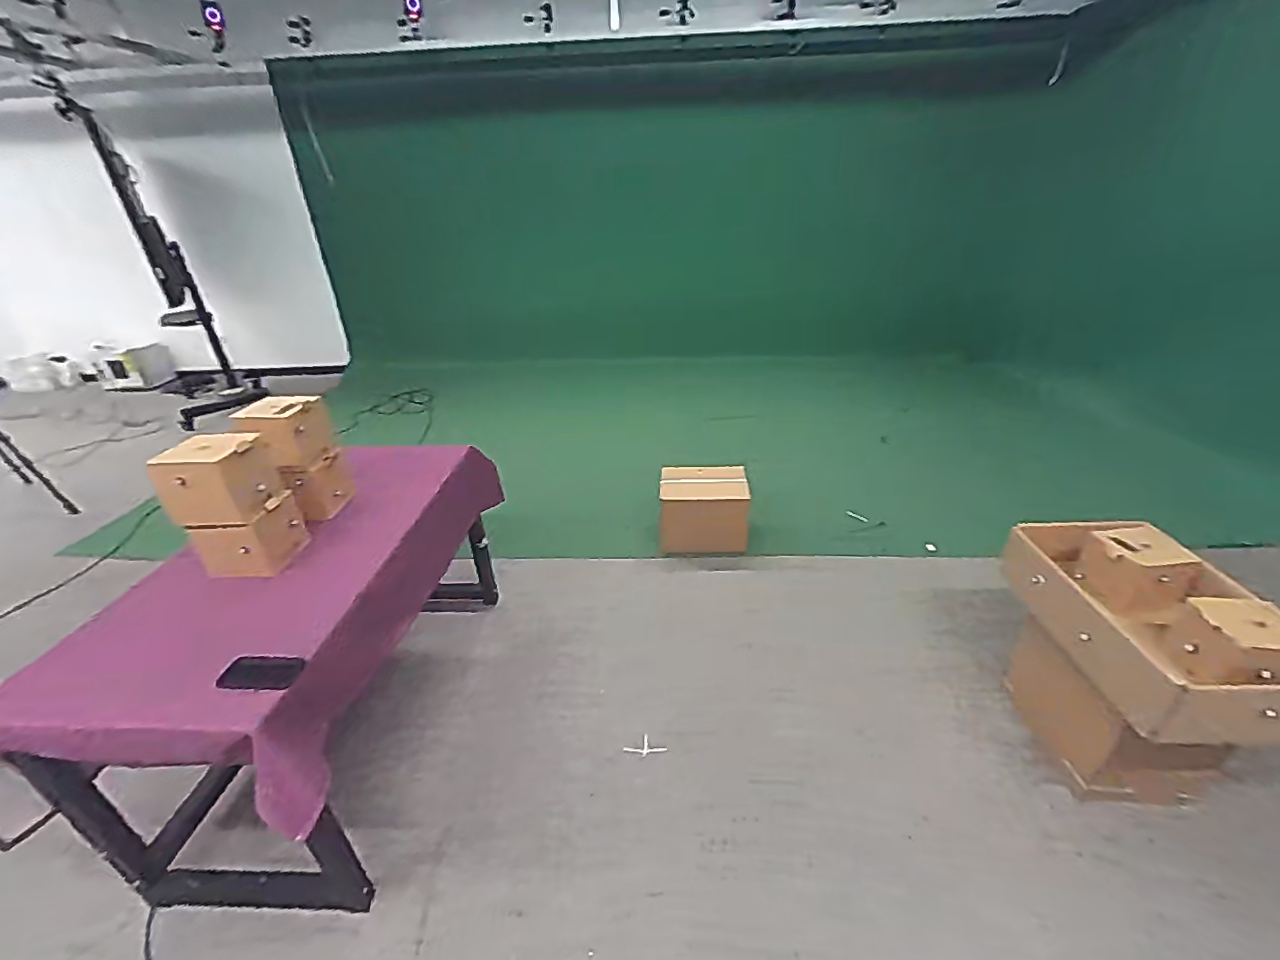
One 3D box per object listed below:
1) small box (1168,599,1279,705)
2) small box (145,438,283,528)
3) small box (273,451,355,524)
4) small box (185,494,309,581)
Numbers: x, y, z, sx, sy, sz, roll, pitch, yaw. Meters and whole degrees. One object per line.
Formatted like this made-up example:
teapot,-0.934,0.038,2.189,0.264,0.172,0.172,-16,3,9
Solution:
small box,1.390,0.397,1.254,0.179,0.176,0.168,1,29,10
small box,-1.025,0.008,1.319,0.179,0.176,0.168,-1,28,3
small box,-1.005,0.022,1.639,0.179,0.176,0.168,0,28,3
small box,-1.007,0.148,1.406,0.179,0.176,0.168,-2,28,3
